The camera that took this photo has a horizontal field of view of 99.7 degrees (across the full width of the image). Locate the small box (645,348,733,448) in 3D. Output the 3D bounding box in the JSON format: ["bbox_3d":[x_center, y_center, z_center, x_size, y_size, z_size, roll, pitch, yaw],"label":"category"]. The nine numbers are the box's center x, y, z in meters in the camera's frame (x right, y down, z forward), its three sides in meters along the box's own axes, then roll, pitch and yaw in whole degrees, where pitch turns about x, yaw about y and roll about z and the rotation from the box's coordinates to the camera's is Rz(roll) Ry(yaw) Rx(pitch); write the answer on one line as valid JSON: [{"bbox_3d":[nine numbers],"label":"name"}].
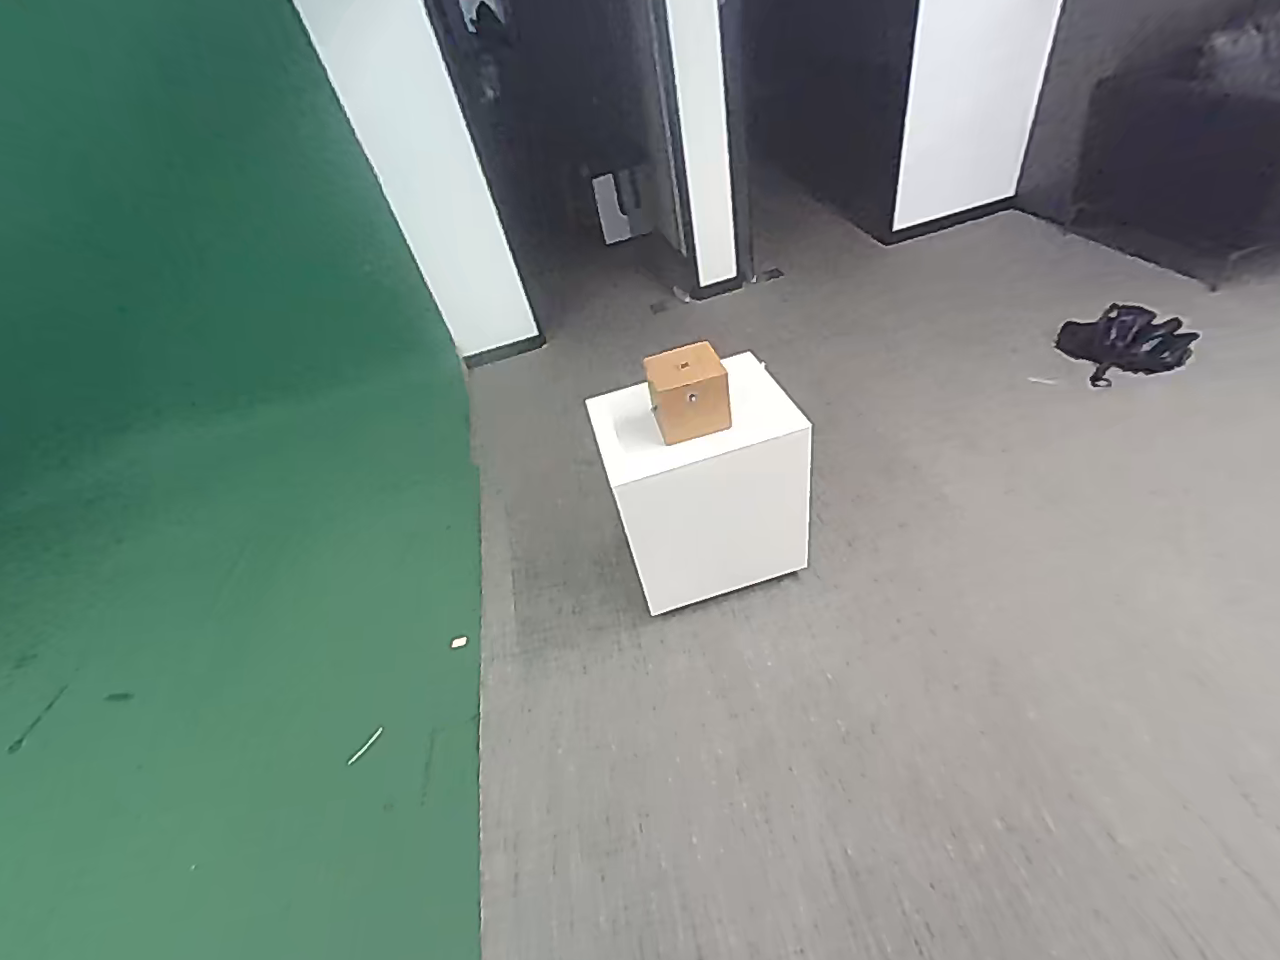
[{"bbox_3d":[0.125,-0.204,1.369,0.179,0.176,0.168,-16,42,-2],"label":"small box"}]
